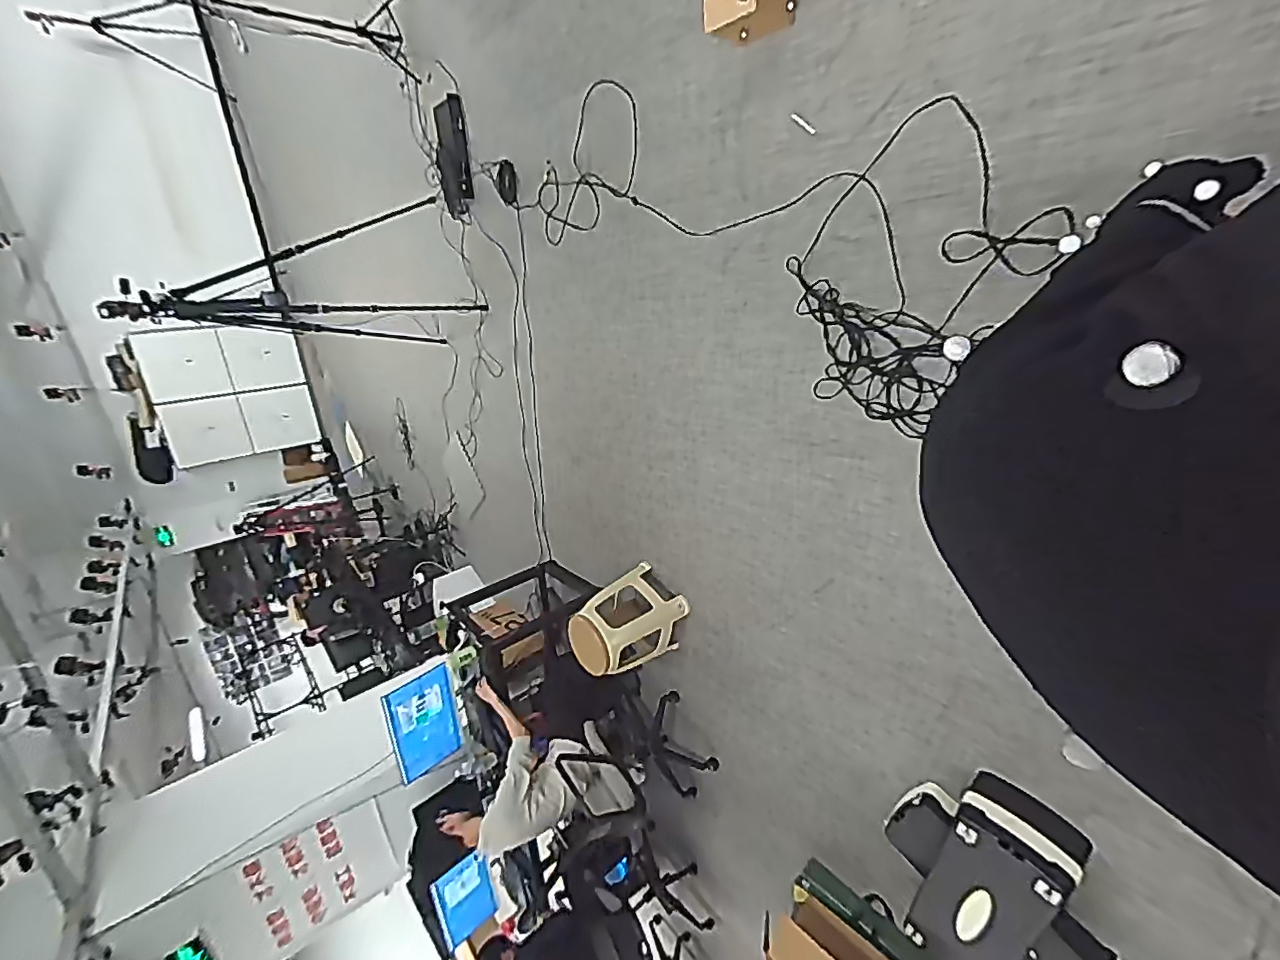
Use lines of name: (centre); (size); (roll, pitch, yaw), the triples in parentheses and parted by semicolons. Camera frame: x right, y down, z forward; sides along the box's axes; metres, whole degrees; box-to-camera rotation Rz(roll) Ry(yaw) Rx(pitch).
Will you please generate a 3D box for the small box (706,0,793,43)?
small box: (0.294, -1.298, 1.432); (0.179, 0.176, 0.168); (19, 120, 47)
